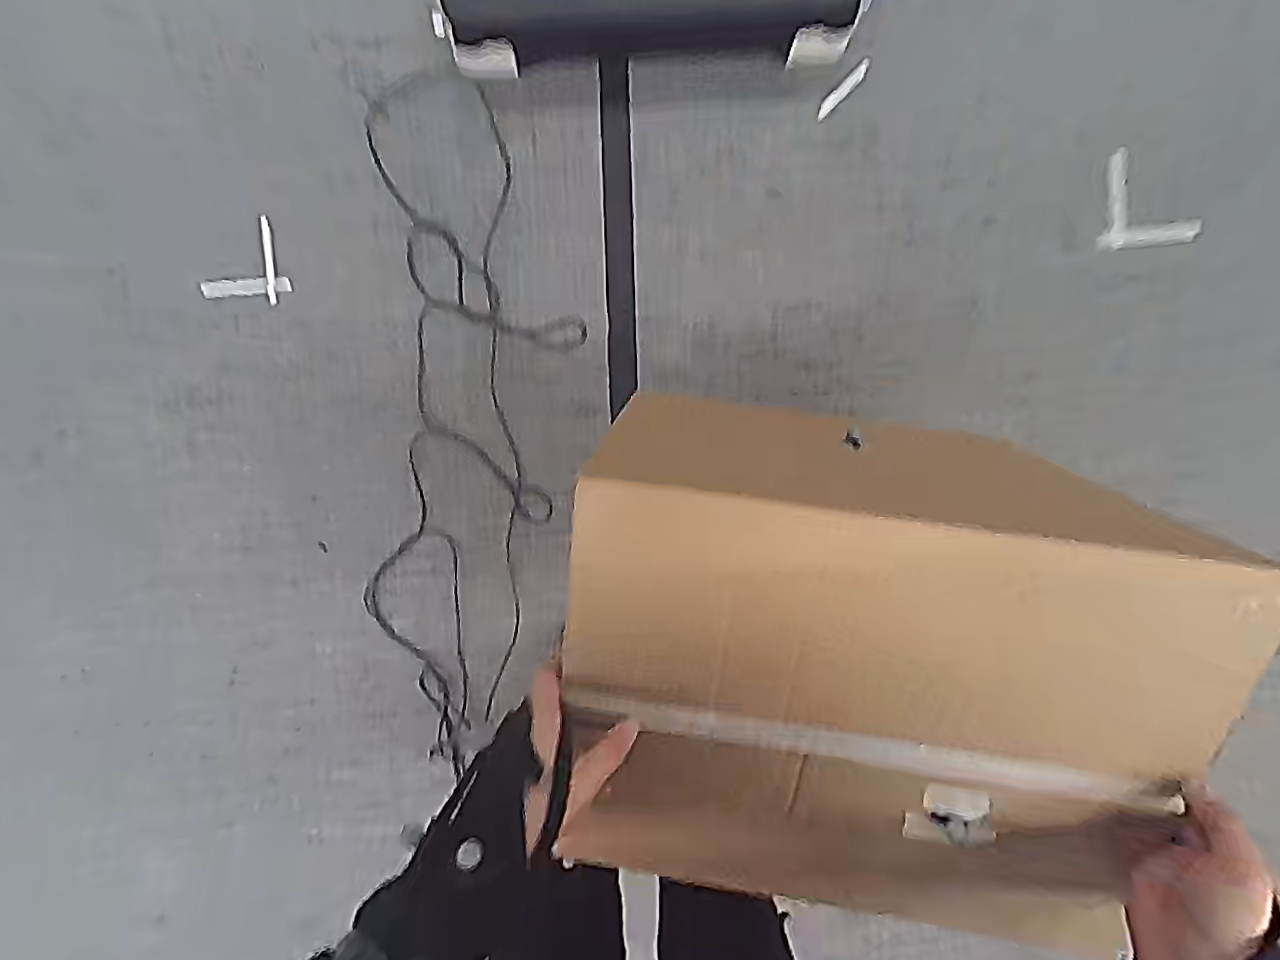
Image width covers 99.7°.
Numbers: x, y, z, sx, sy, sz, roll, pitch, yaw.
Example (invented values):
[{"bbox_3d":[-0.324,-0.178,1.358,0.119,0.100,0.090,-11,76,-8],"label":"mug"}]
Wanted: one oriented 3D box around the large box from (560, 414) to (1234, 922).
[{"bbox_3d":[0.154,0.128,0.517,0.408,0.320,0.320,7,109,3],"label":"large box"}]
